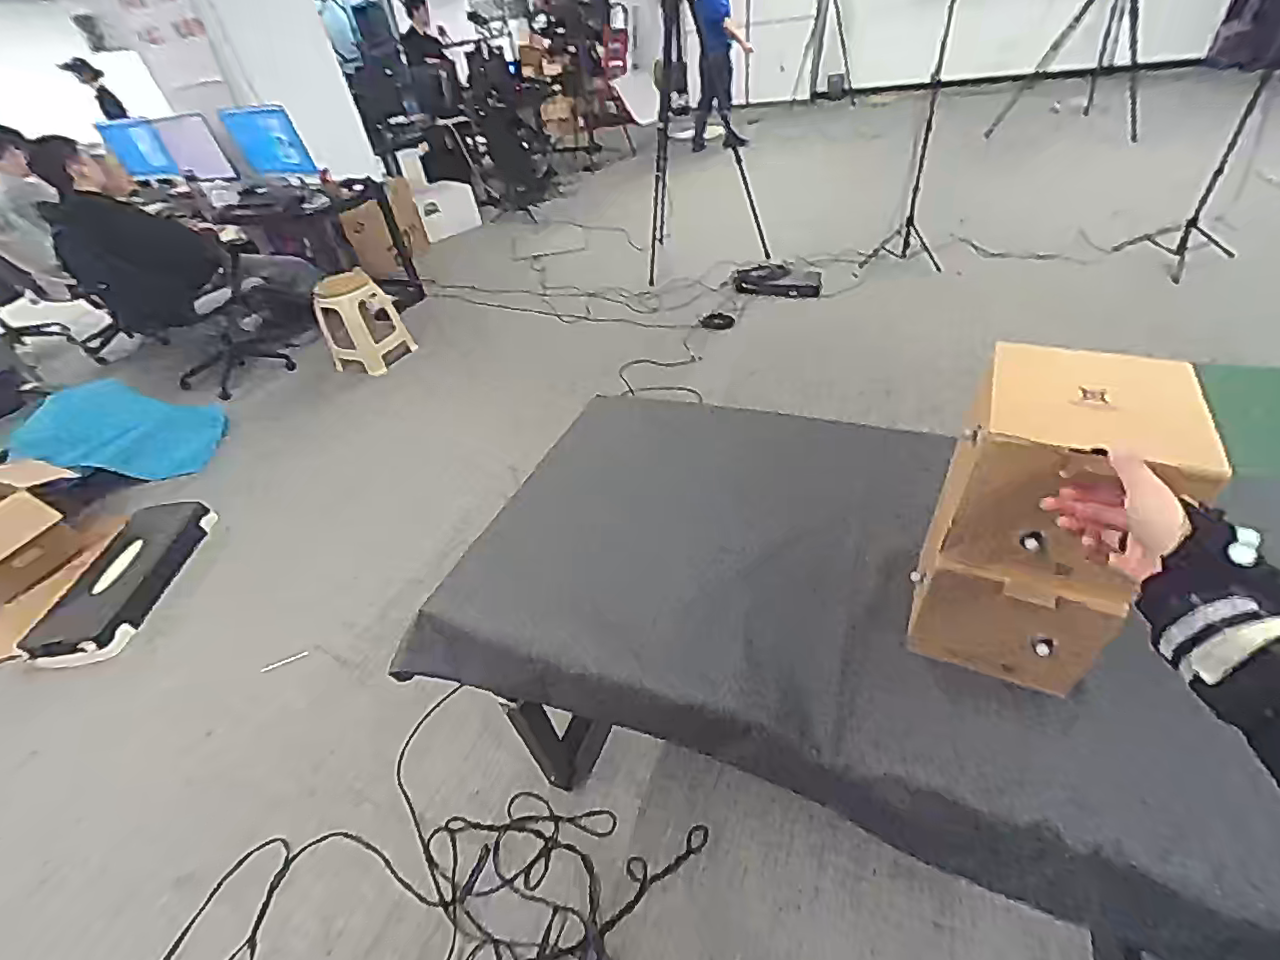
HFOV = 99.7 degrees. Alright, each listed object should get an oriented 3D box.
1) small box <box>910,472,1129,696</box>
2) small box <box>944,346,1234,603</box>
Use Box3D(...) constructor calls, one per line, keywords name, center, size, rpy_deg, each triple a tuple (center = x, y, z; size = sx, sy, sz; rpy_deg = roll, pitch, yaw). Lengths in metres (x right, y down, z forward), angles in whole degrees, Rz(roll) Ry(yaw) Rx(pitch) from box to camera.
Box3D(name="small box", center=(0.432, 0.121, 0.643), size=(0.168, 0.176, 0.179), rpy_deg=(14, 45, 23))
Box3D(name="small box", center=(0.424, -0.011, 0.546), size=(0.168, 0.176, 0.179), rpy_deg=(15, 46, 24))
